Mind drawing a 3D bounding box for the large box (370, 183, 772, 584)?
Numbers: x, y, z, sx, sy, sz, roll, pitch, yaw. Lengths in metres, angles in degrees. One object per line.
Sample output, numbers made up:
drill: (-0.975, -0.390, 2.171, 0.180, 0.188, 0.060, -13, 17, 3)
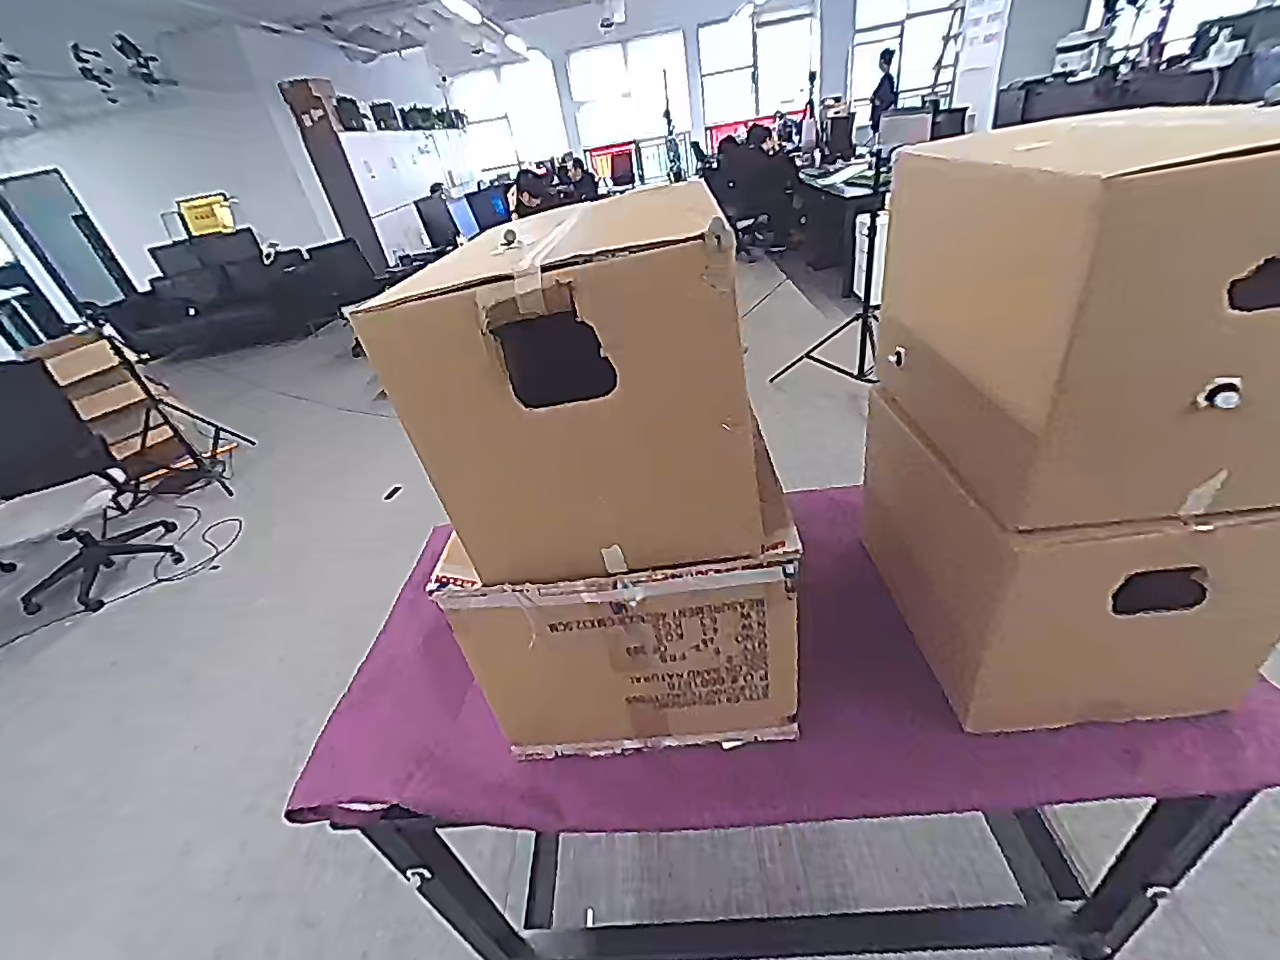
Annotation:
large box: (-0.036, -0.138, 0.653, 0.320, 0.320, 0.408, -10, 33, 9)
